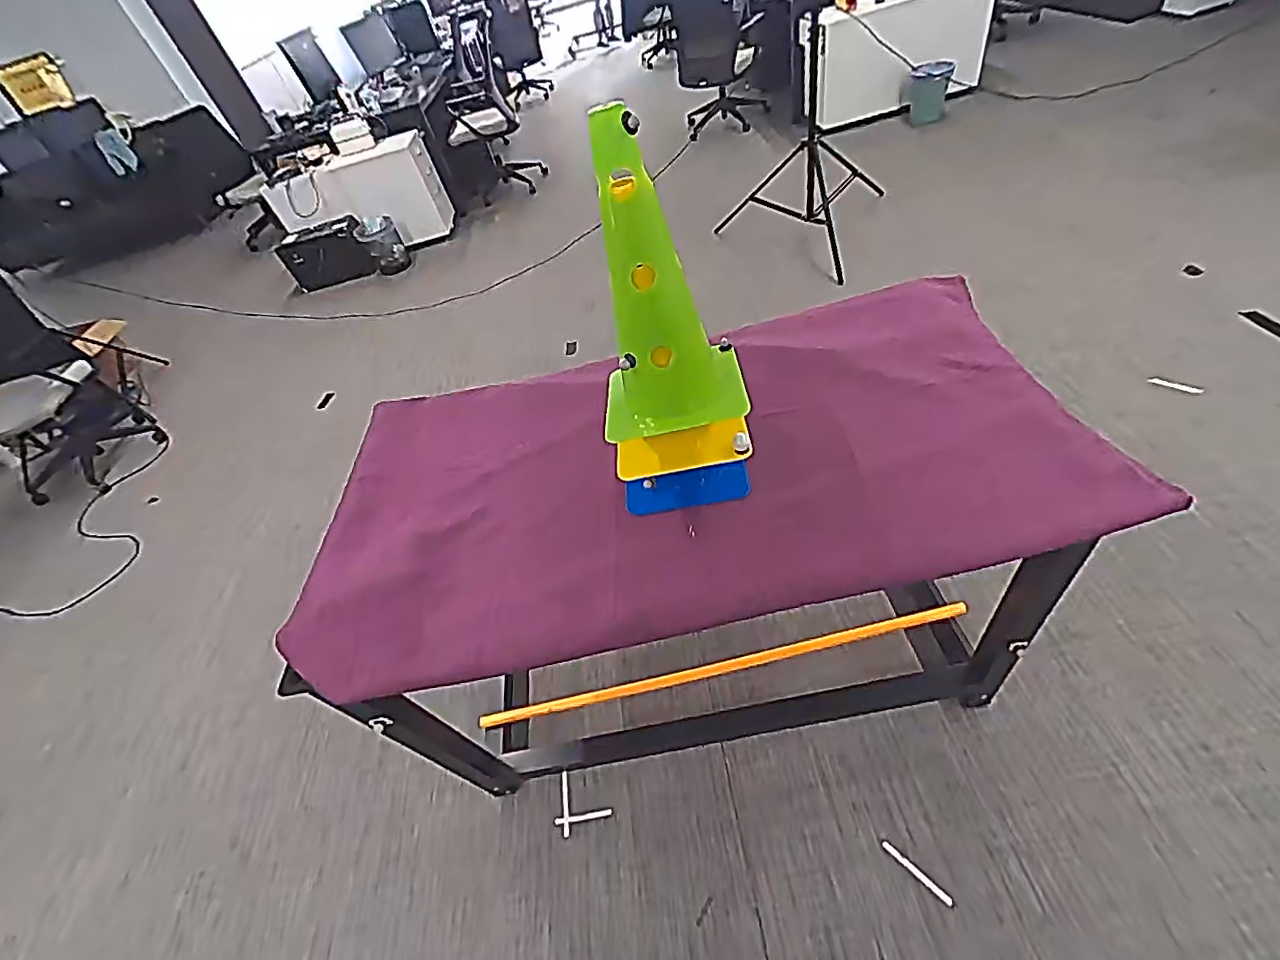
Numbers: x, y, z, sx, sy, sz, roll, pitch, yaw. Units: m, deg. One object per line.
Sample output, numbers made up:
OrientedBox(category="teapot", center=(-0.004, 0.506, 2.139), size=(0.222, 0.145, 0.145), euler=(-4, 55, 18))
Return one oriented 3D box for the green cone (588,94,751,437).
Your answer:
OrientedBox(category="green cone", center=(0.005, -0.262, 0.676), size=(0.200, 0.368, 0.202), euler=(-12, 40, 9))
